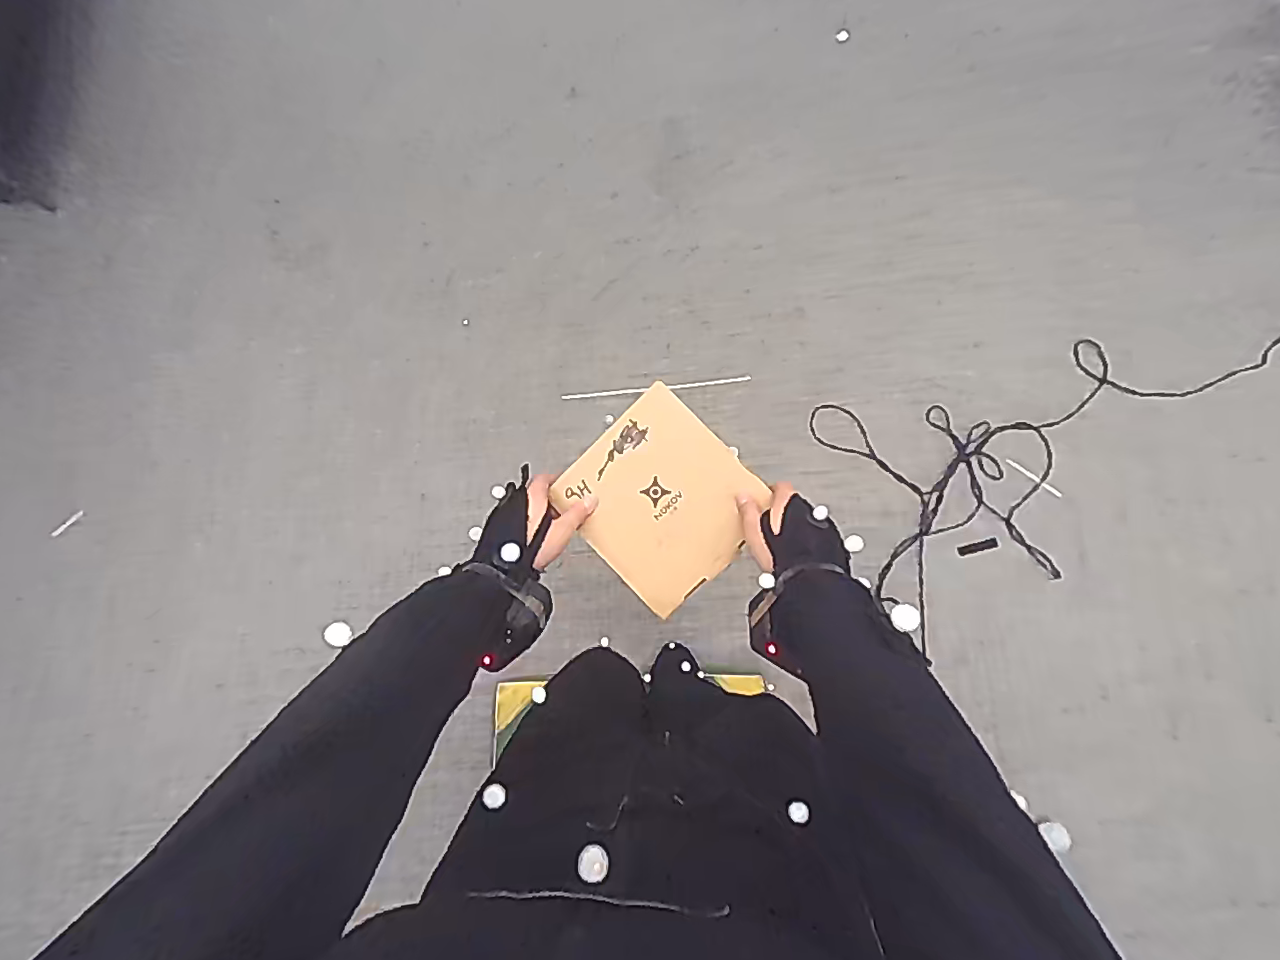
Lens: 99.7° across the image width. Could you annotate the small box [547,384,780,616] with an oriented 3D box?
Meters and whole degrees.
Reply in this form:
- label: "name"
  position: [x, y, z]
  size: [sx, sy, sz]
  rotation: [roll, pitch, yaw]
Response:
- label: "small box"
  position: [0.029, 0.019, 0.614]
  size: [0.168, 0.176, 0.179]
  rotation: [-44, 86, 3]
